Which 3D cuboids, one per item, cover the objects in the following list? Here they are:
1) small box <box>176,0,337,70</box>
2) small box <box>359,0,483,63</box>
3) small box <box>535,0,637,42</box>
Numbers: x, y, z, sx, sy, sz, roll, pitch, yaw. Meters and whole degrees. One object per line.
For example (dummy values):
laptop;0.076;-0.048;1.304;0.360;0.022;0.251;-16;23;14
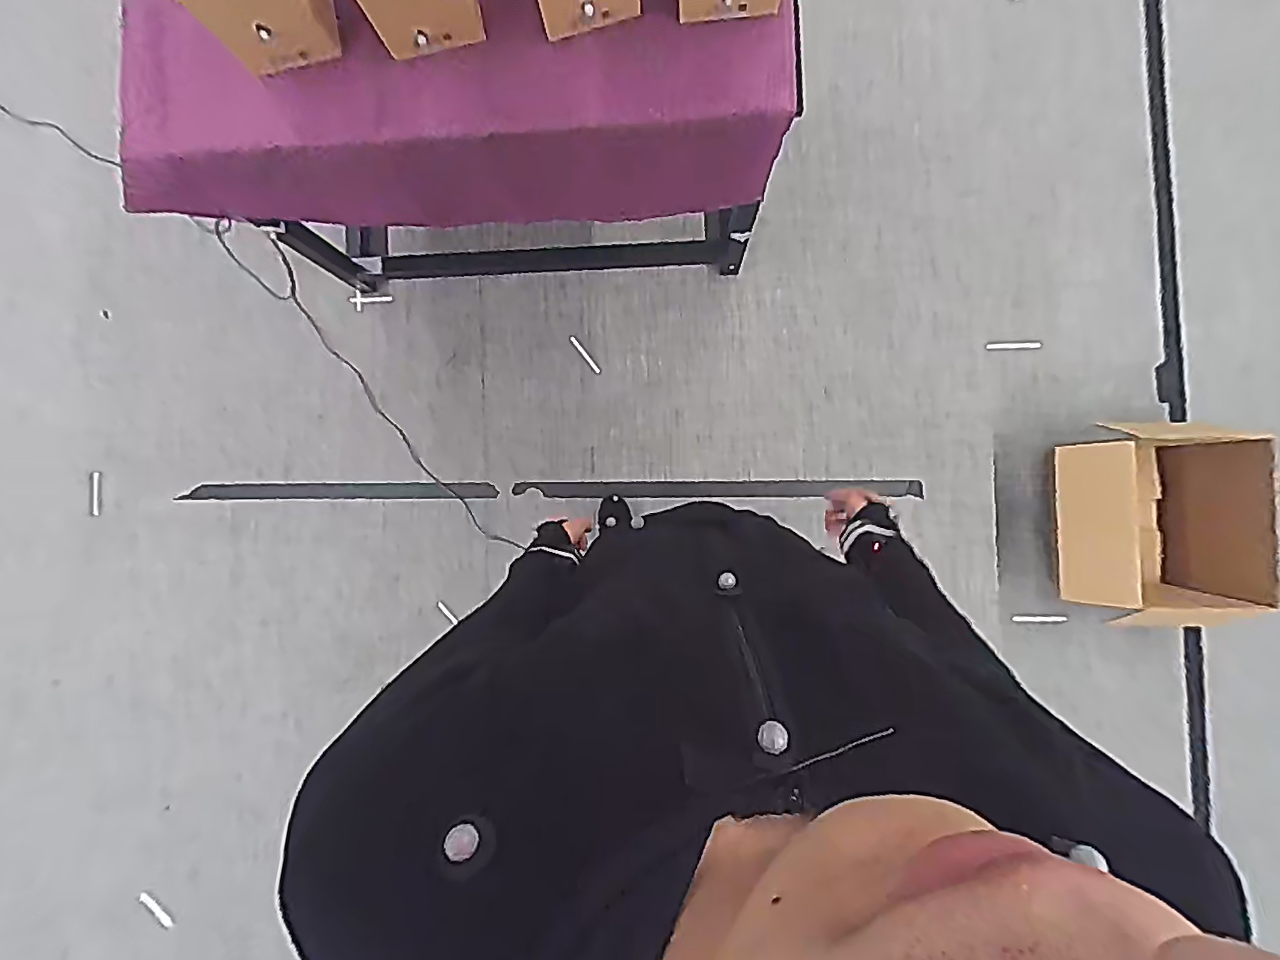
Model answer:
small box;-0.622;-0.810;0.876;0.168;0.176;0.179;-10;88;2
small box;-0.370;-0.827;0.865;0.168;0.176;0.179;-11;88;3
small box;-0.105;-0.855;0.851;0.168;0.176;0.179;-15;89;3
